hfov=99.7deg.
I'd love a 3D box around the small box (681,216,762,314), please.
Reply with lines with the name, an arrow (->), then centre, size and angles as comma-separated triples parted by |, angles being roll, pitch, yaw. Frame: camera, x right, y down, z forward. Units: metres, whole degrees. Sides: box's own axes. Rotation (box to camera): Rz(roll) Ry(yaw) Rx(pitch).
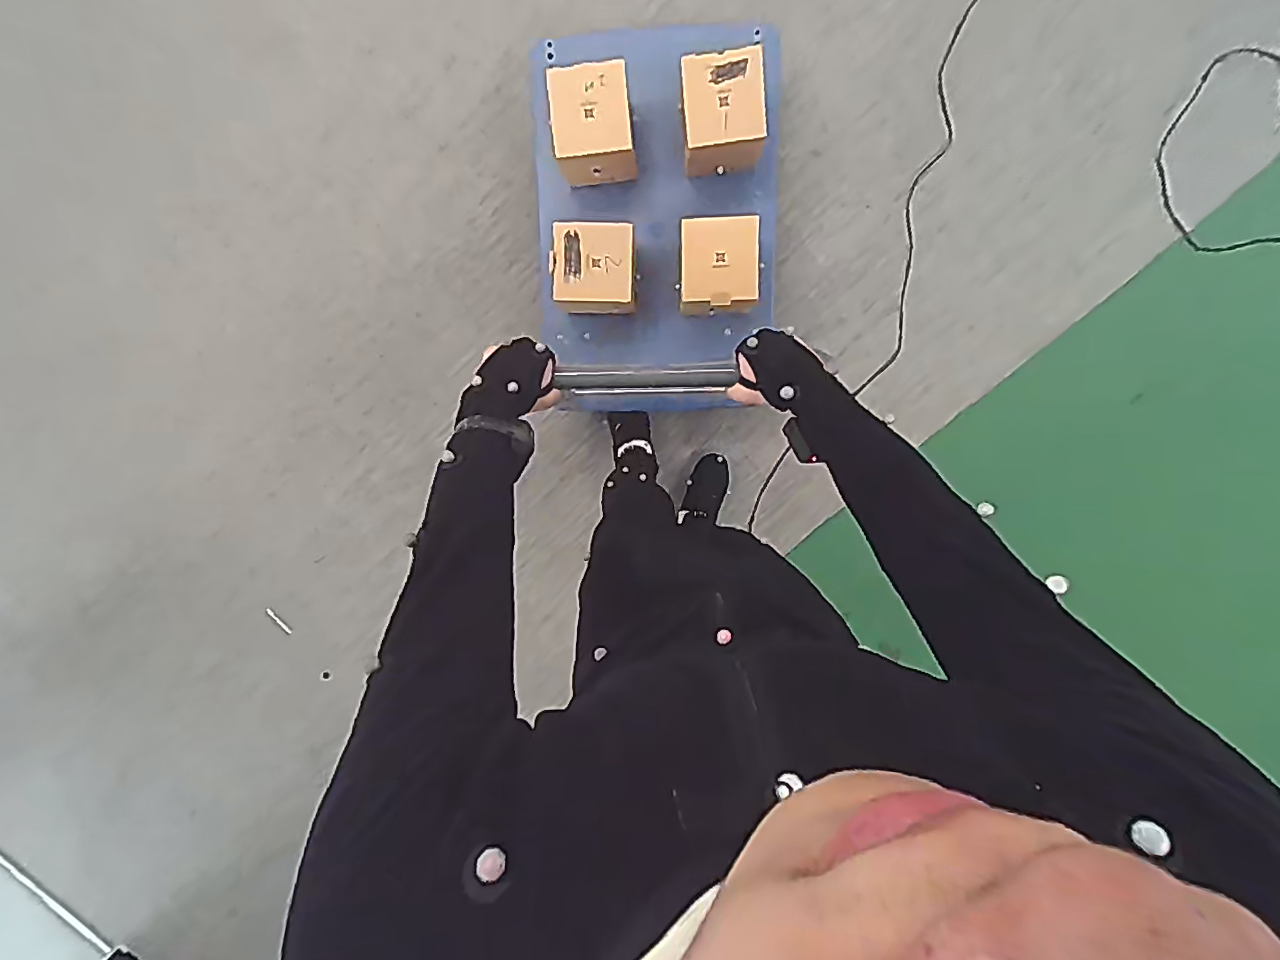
small box -> 0.180, -0.484, 1.235 | 0.168, 0.176, 0.179 | -1, 100, 3

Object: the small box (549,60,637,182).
small box -> -0.098, -0.781, 1.199 | 0.168, 0.176, 0.179 | -5, 99, 3

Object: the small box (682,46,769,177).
small box -> 0.181, -0.795, 1.183 | 0.168, 0.176, 0.179 | -5, 100, 4
